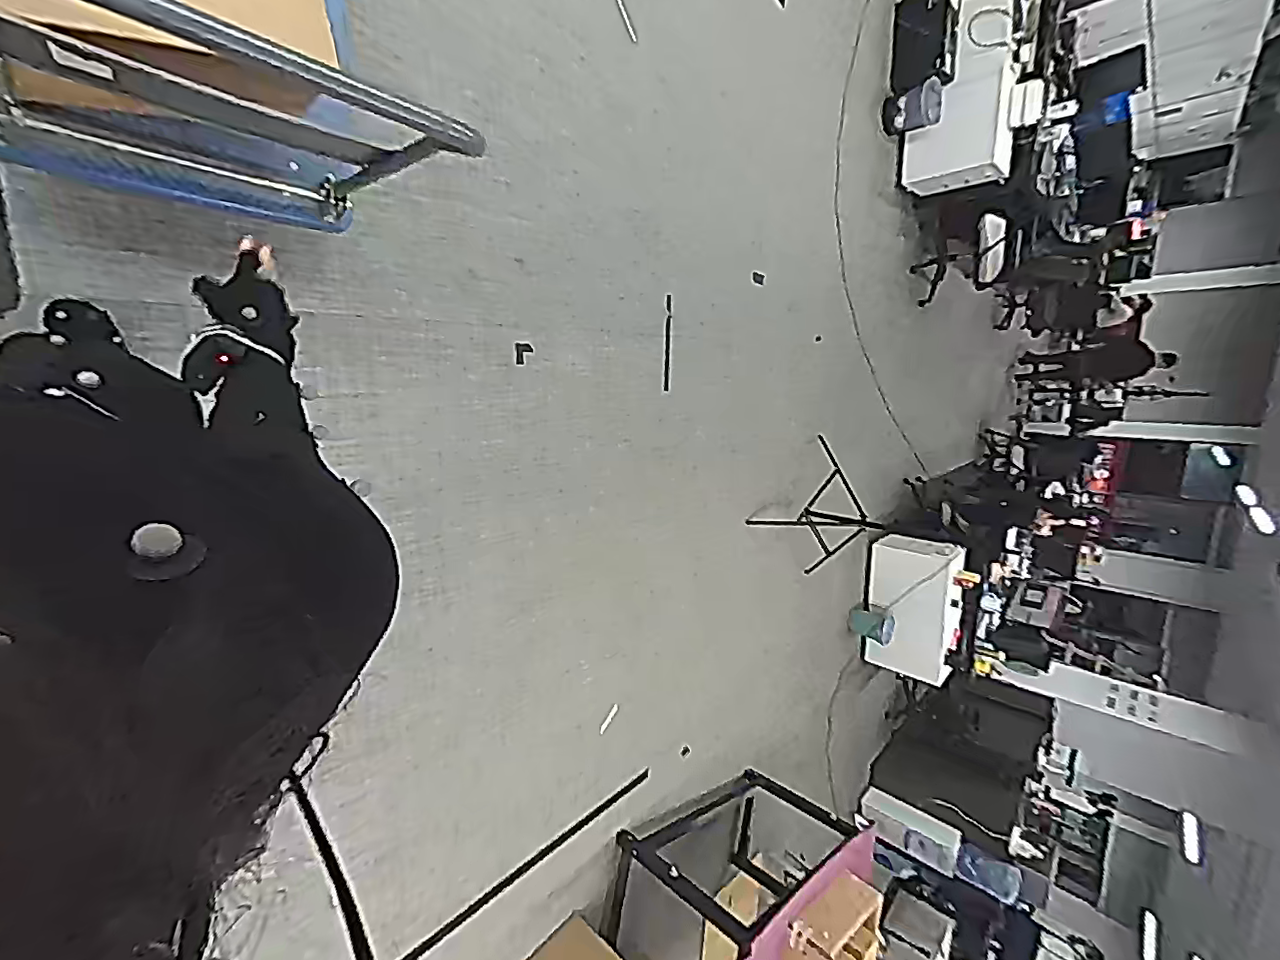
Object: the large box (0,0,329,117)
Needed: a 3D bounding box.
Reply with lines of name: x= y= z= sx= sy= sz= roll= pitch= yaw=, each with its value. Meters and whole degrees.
large box: x=-0.781 y=-0.797 z=0.825 sx=0.408 sy=0.320 sz=0.320 roll=-25 pitch=117 yaw=-43
